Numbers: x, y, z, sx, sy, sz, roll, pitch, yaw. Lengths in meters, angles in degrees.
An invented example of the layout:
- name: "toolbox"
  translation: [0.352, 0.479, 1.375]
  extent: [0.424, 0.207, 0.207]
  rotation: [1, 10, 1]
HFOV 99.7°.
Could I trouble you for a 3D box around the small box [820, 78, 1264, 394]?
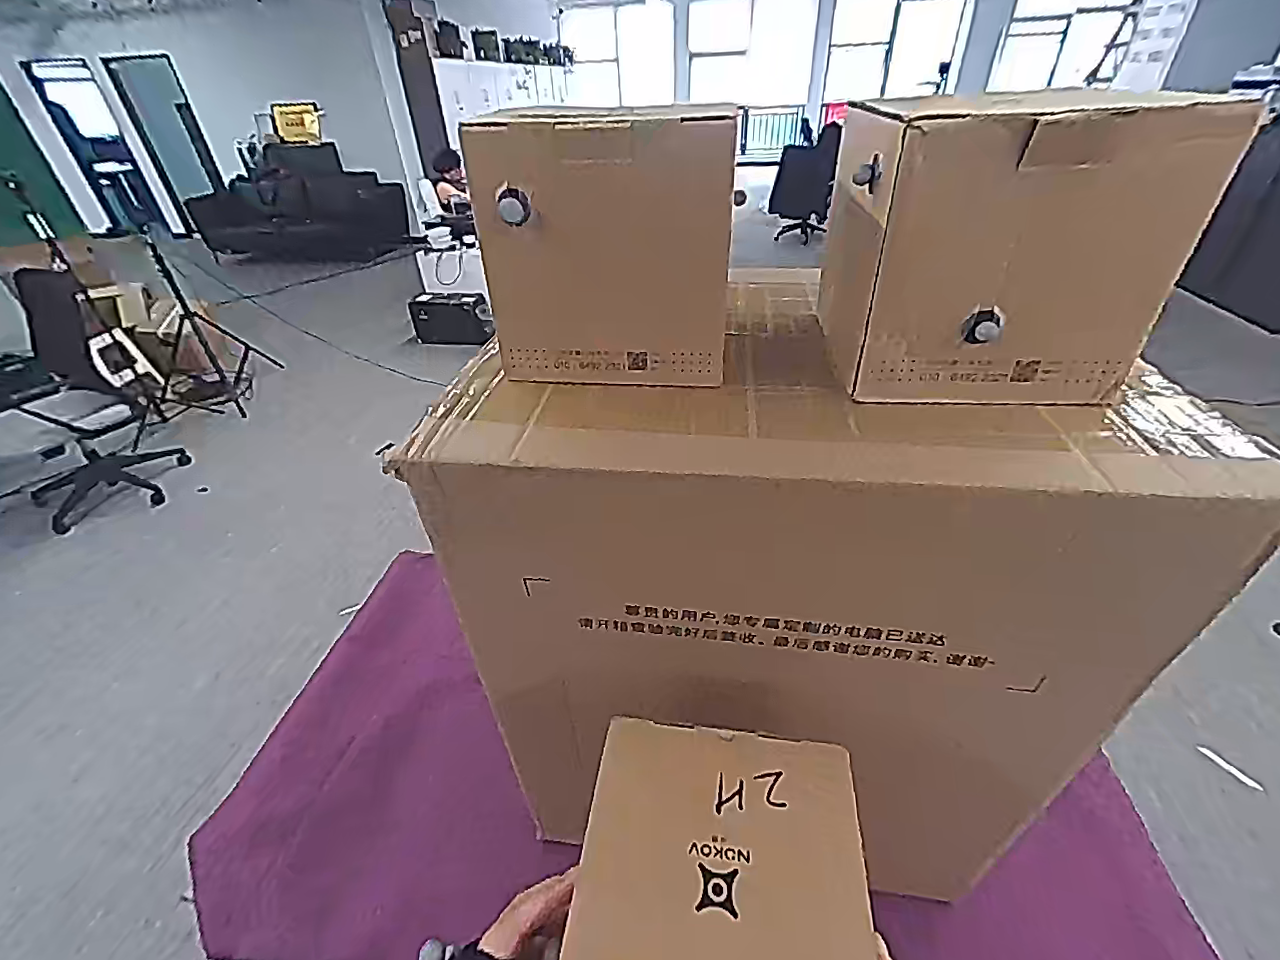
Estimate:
- name: "small box"
  translation: [0.233, -0.175, 0.383]
  extent: [0.168, 0.176, 0.179]
  rotation: [1, 37, 7]
